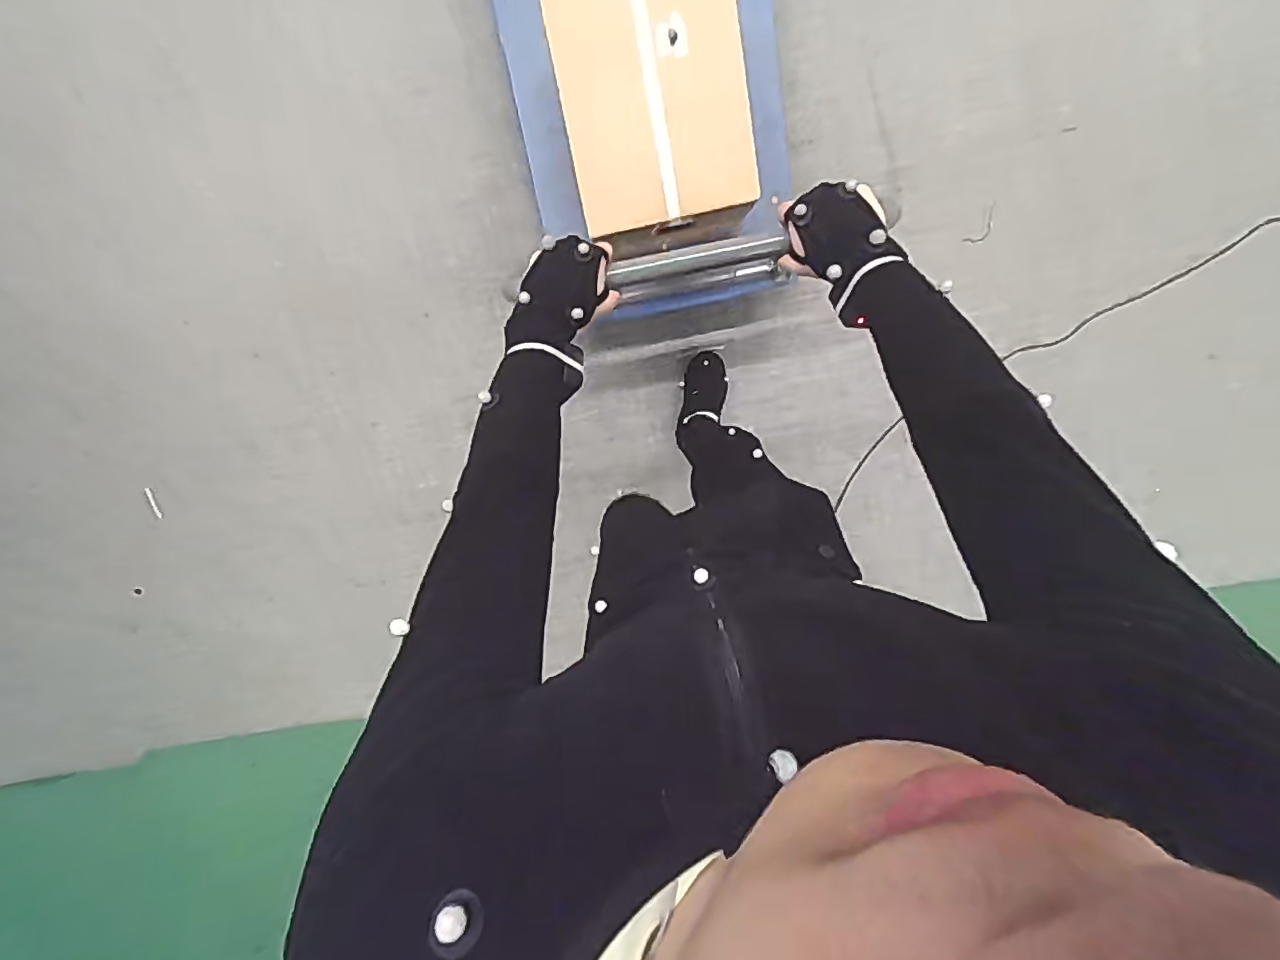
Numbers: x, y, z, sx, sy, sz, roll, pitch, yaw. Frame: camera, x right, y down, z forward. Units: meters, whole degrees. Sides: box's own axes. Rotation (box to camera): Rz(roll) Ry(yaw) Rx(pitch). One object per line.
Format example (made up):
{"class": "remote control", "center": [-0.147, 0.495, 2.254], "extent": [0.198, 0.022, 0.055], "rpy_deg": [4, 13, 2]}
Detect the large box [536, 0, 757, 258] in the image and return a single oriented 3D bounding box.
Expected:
{"class": "large box", "center": [0.026, -0.697, 1.064], "extent": [0.320, 0.320, 0.408], "rpy_deg": [-11, 105, 6]}
